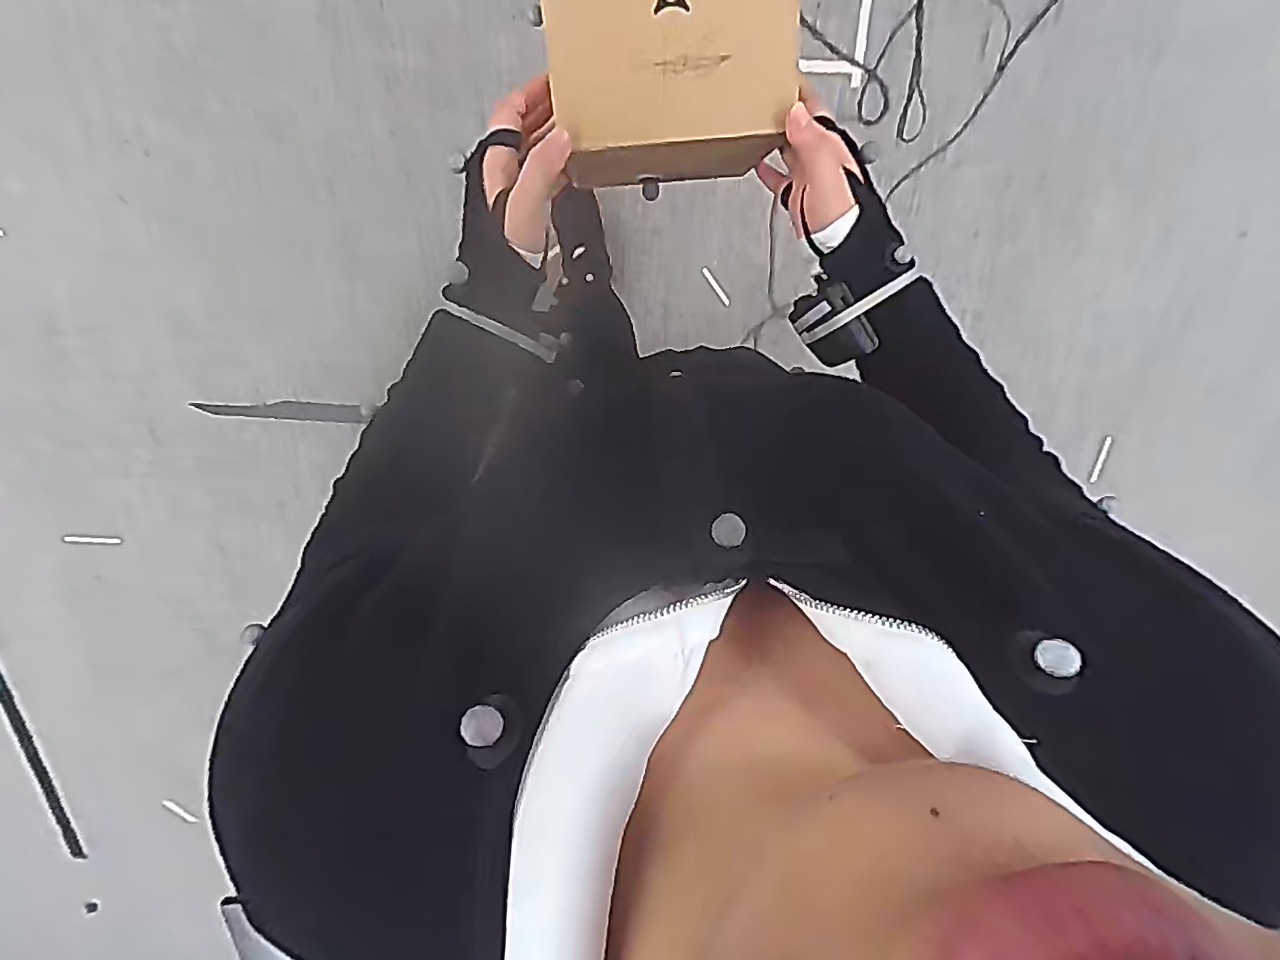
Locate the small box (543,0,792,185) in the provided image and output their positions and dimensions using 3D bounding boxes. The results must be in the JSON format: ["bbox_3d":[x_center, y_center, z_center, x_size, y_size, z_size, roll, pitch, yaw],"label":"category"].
[{"bbox_3d":[0.013,-0.346,0.421,0.168,0.176,0.179,-5,111,0],"label":"small box"}]

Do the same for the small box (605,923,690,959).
[{"bbox_3d":[0.014,1.001,1.048,0.168,0.176,0.179,1,112,-2],"label":"small box"}]
